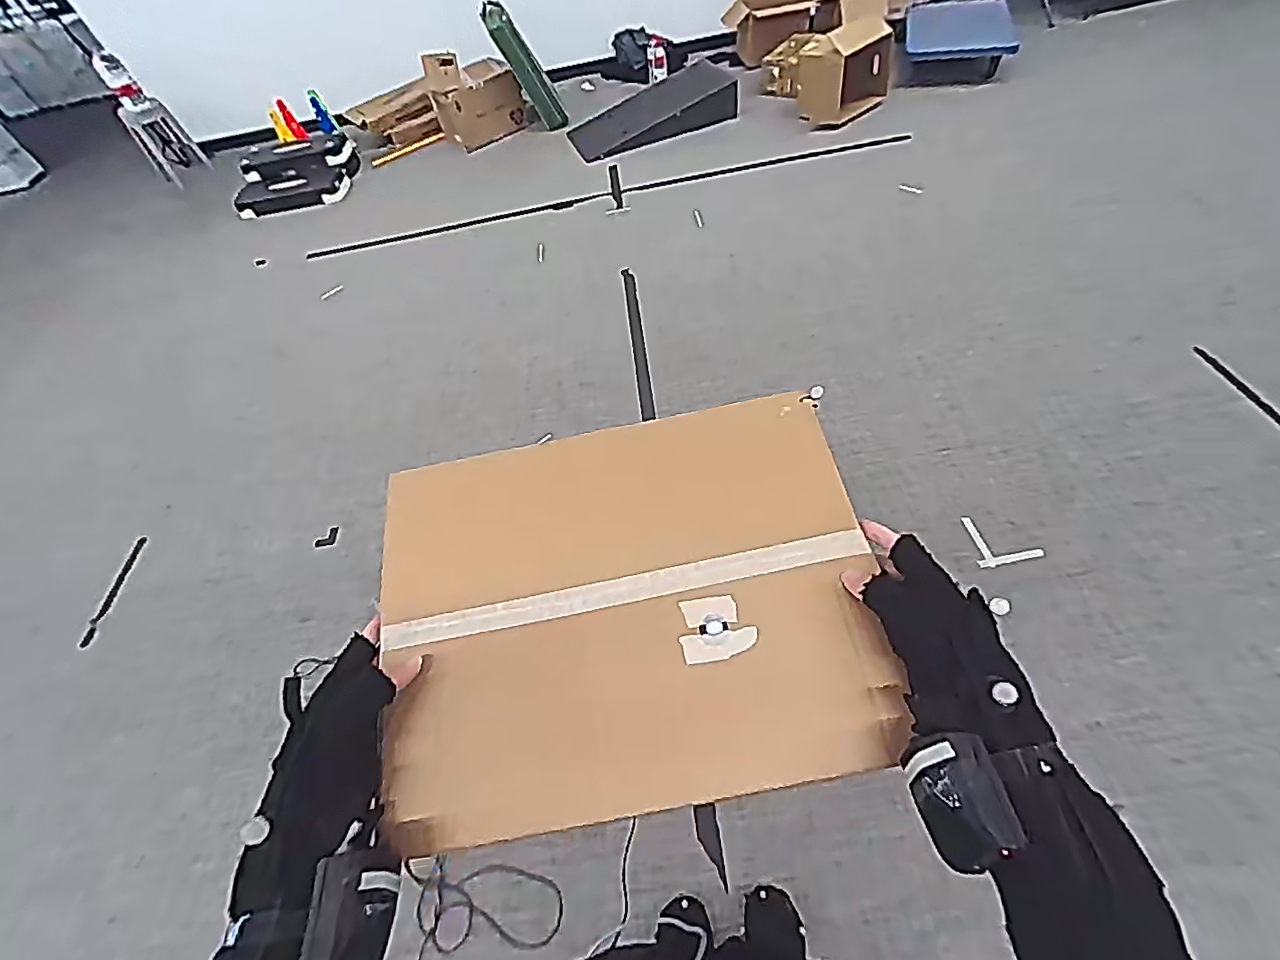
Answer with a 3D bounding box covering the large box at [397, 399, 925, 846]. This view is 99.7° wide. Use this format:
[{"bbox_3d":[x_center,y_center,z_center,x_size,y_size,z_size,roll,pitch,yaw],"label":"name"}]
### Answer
[{"bbox_3d":[0.002,0.160,0.592,0.408,0.320,0.320,-11,64,0],"label":"large box"}]
